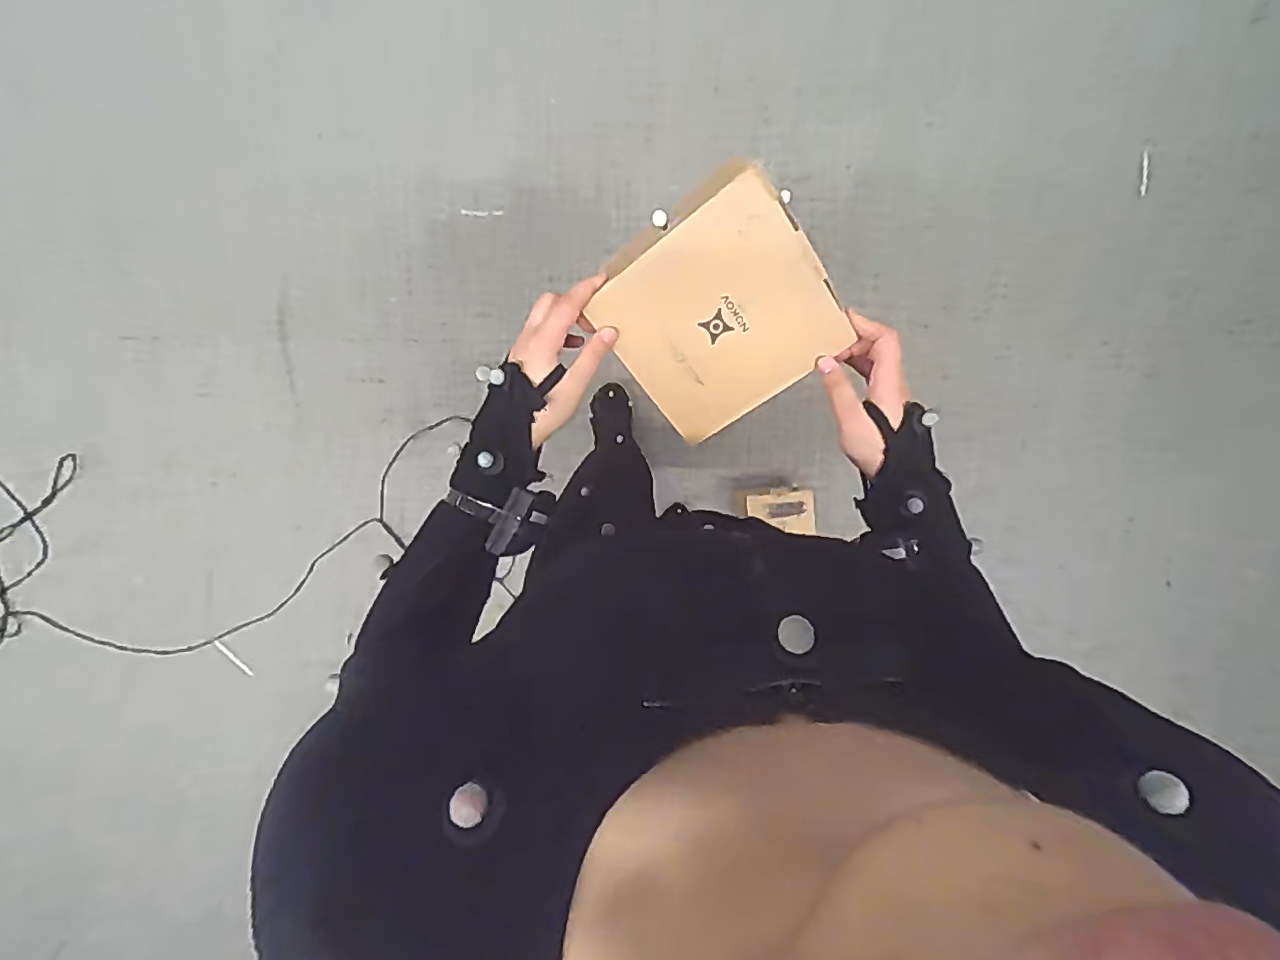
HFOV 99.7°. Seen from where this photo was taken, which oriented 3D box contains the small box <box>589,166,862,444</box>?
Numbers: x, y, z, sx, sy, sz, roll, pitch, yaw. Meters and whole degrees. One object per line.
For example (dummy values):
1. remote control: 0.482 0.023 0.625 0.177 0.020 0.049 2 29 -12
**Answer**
1. small box: 0.074 -0.173 0.519 0.179 0.176 0.168 -33 114 21
